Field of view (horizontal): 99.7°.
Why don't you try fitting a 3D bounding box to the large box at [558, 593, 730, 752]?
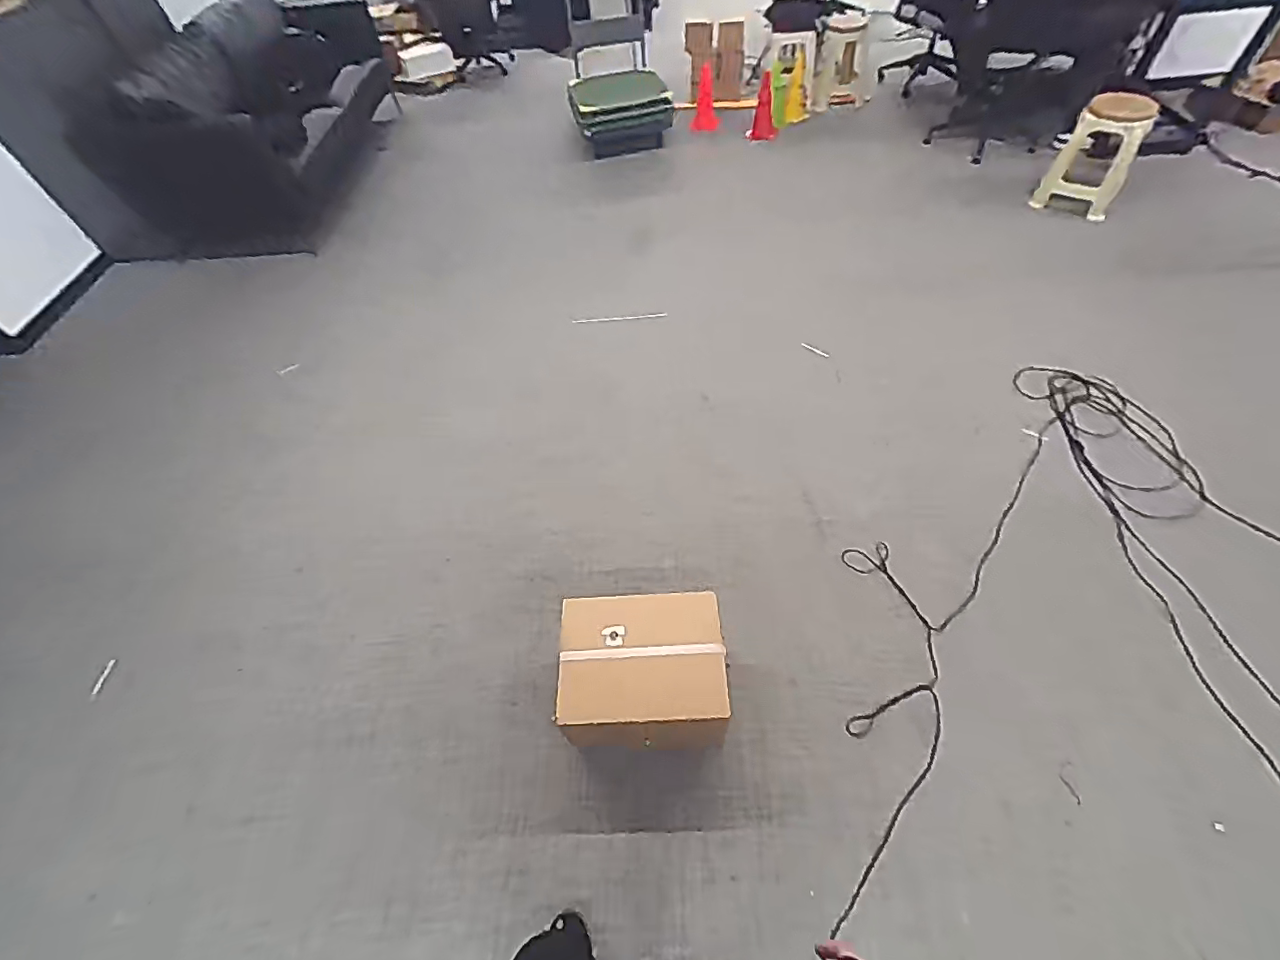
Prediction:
[{"bbox_3d":[0.013,0.524,1.449,0.408,0.320,0.320,-5,52,2],"label":"large box"}]
